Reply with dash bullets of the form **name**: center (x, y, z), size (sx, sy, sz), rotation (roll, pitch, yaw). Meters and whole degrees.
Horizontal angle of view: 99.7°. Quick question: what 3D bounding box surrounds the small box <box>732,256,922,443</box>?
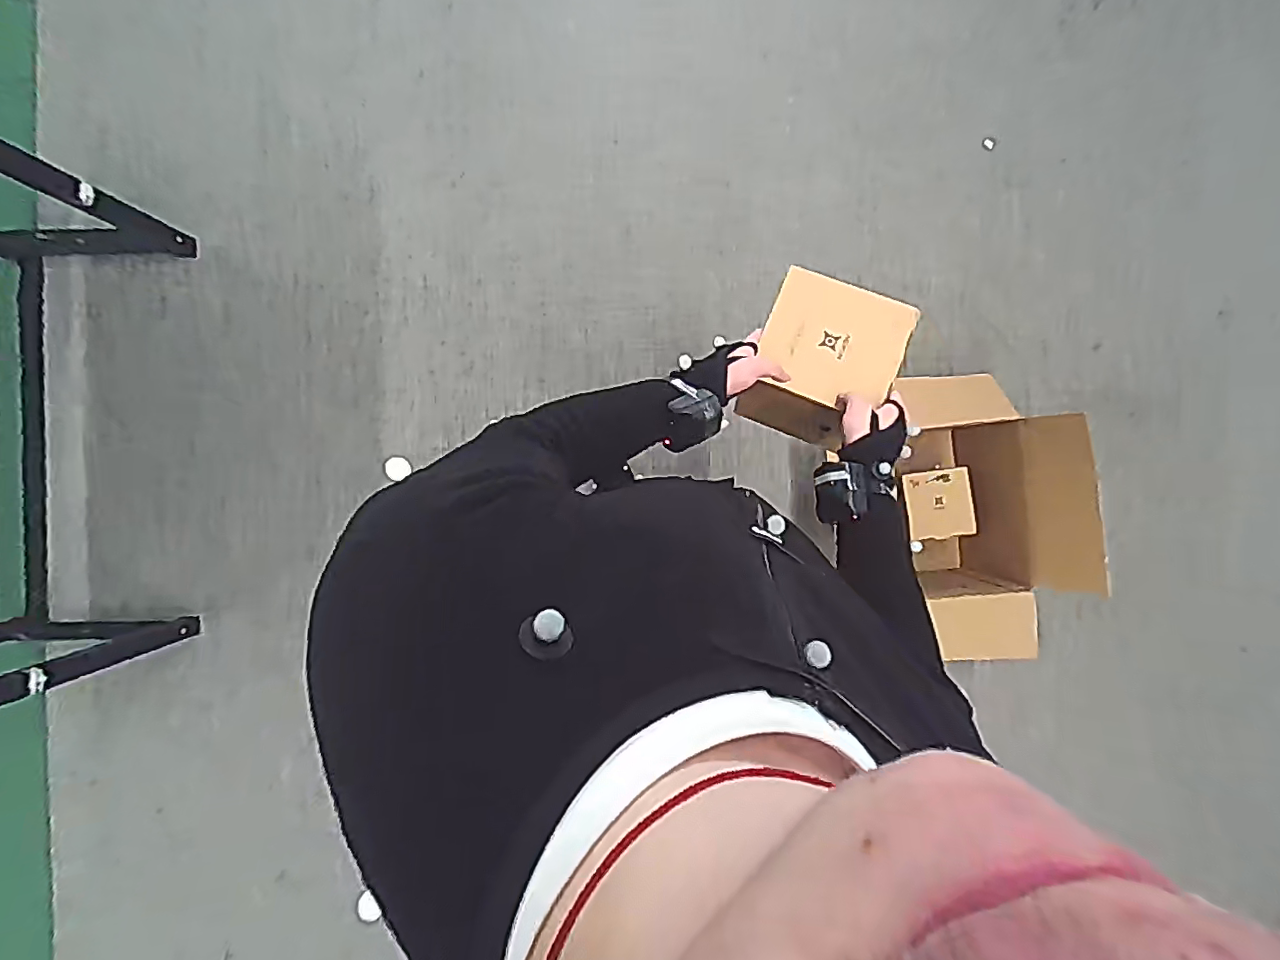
- **small box**: center (0.244, -0.166, 0.747), size (0.179, 0.176, 0.168), rotation (24, 80, 9)
